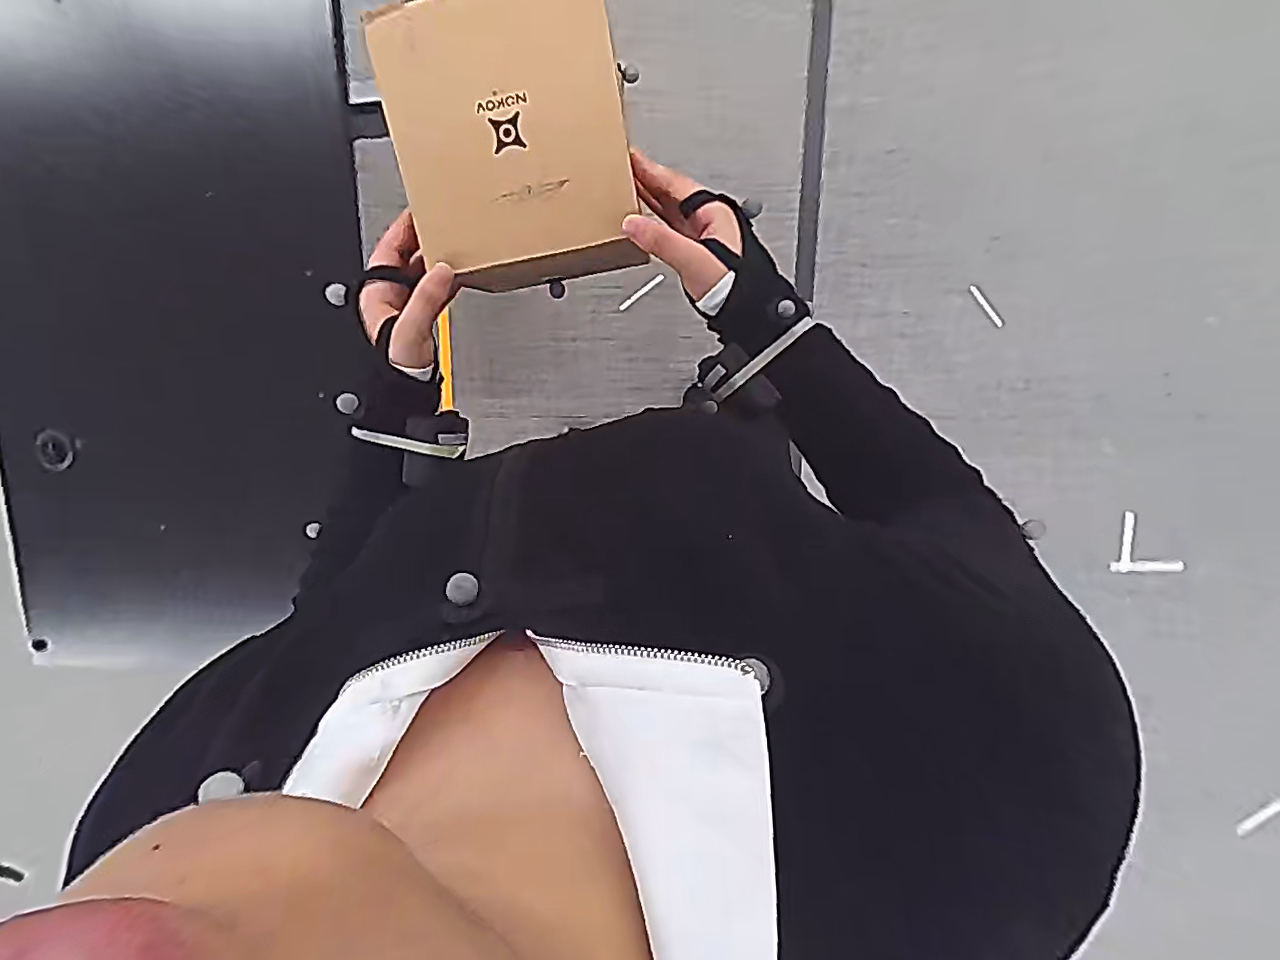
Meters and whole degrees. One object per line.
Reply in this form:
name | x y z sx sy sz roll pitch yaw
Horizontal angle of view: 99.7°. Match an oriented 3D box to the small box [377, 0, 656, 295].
small box | -0.080 -0.263 0.452 0.168 0.176 0.179 -8 105 6
